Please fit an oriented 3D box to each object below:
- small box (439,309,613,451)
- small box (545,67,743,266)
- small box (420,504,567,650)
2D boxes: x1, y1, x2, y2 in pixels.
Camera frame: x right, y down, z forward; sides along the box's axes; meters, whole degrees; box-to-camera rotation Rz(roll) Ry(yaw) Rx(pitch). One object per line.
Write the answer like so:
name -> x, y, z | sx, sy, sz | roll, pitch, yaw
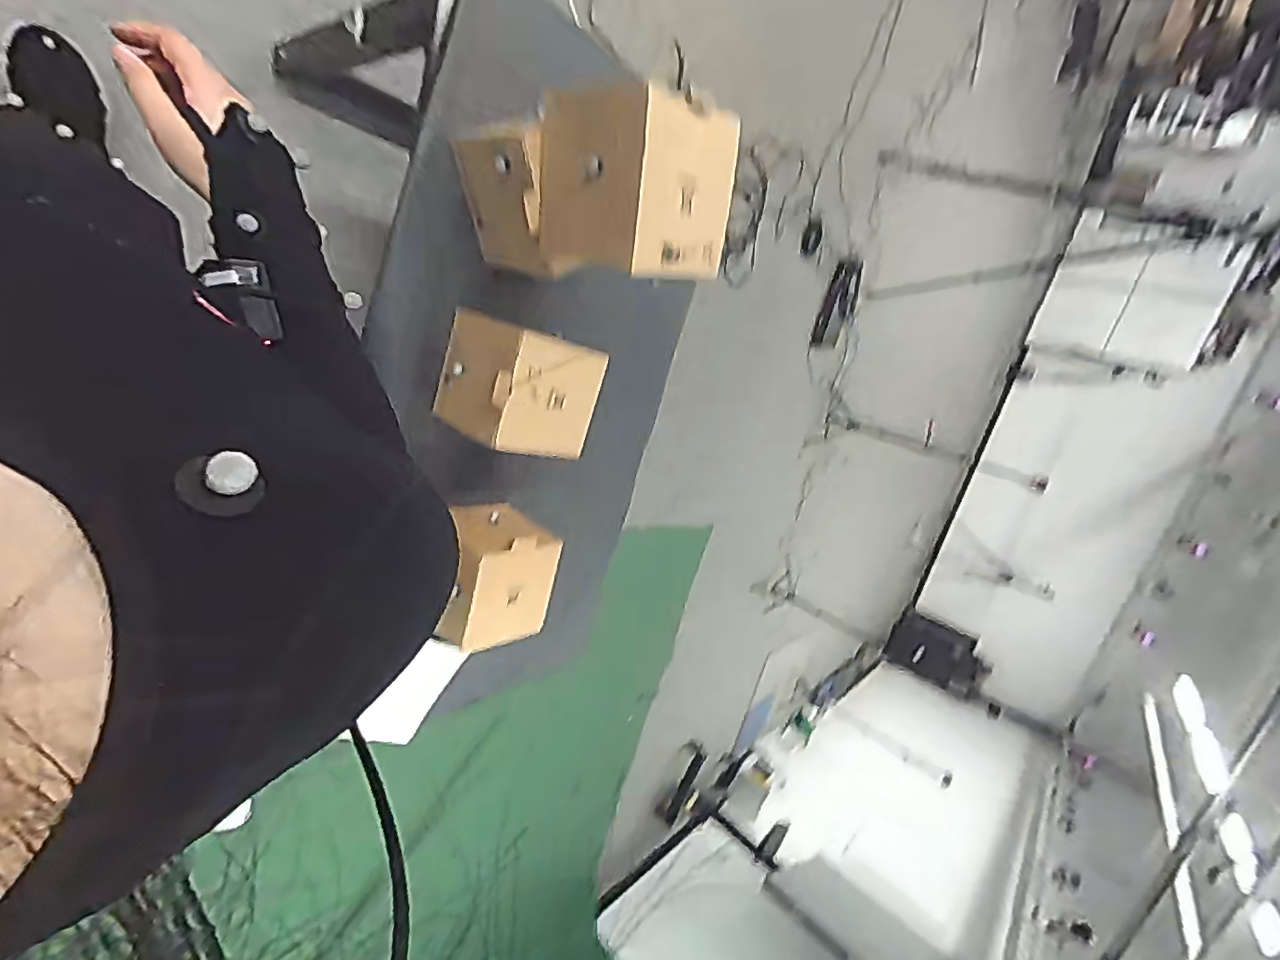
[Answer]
small box -> -0.177, -0.154, 0.838 | 0.179, 0.176, 0.168 | 4, 107, -51
small box -> -0.001, -0.361, 0.653 | 0.168, 0.176, 0.179 | -19, 123, -43
small box -> -0.256, 0.155, 0.926 | 0.168, 0.176, 0.179 | -2, 112, -50
